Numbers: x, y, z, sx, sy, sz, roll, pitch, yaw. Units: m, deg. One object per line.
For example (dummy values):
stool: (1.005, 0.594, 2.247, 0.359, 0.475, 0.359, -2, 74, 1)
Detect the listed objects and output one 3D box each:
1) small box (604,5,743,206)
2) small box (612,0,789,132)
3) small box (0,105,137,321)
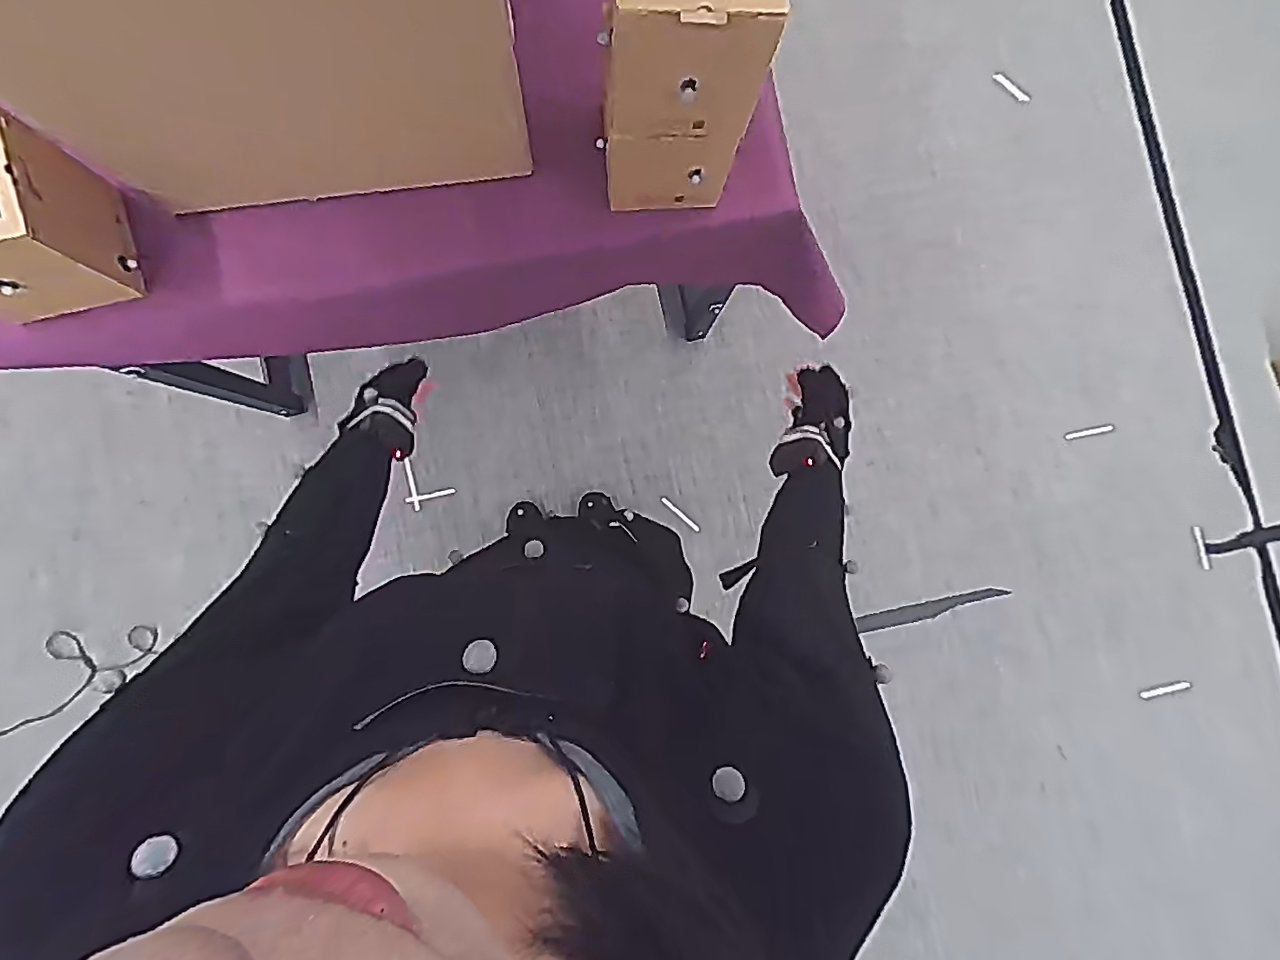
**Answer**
small box: (0.037, -0.504, 0.751, 0.168, 0.176, 0.179, -4, 86, -5)
small box: (0.056, -0.516, 0.588, 0.168, 0.176, 0.179, 0, 88, -5)
small box: (-0.790, -0.323, 0.679, 0.179, 0.176, 0.168, -16, 87, -6)
